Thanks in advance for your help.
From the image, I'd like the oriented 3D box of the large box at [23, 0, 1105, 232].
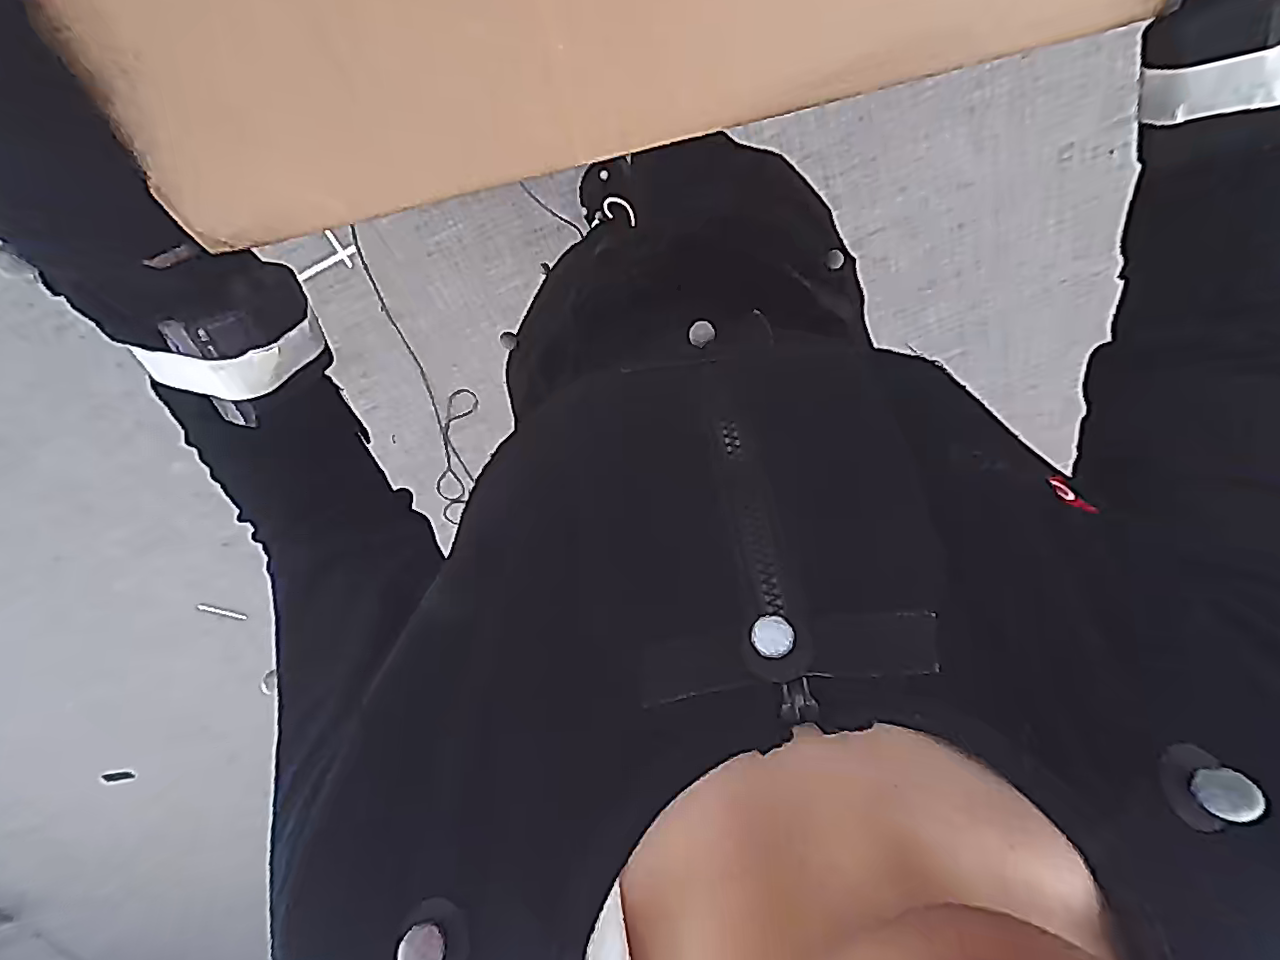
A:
[{"bbox_3d":[-0.038,-0.358,0.196,0.408,0.320,0.320,-12,142,3],"label":"large box"}]
